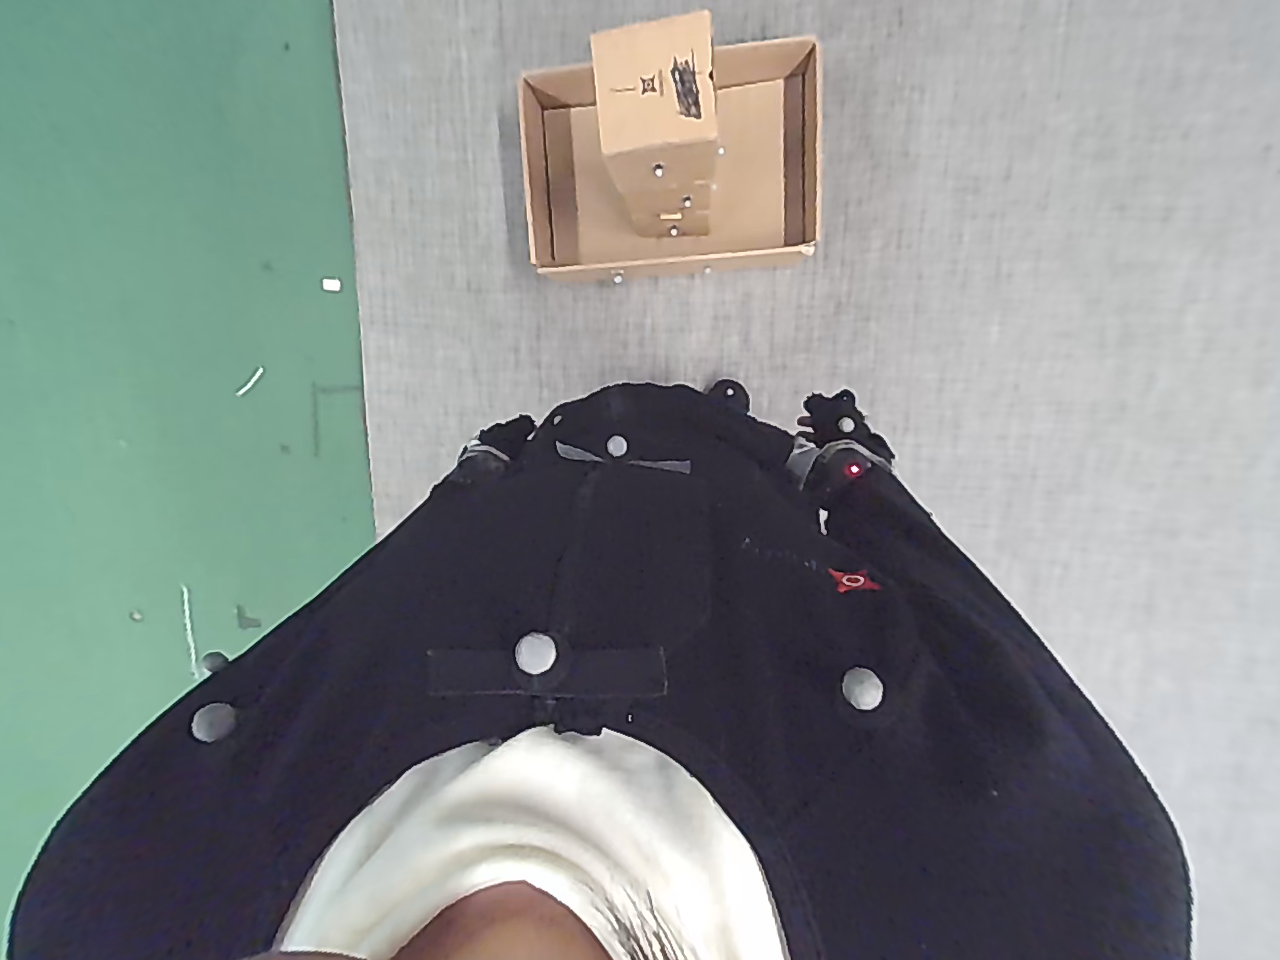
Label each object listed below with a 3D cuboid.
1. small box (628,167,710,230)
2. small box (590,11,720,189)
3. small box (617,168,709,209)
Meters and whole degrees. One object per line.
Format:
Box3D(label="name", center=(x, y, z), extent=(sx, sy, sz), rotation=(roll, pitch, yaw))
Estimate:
Box3D(label="small box", center=(0.068, -0.655, 1.180), extent=(0.168, 0.176, 0.179), rotation=(2, 101, 7))
Box3D(label="small box", center=(0.029, -0.589, 0.864), extent=(0.179, 0.176, 0.168), rotation=(-7, 100, 7))
Box3D(label="small box", center=(0.048, -0.627, 1.022), extent=(0.168, 0.176, 0.179), rotation=(0, 100, 7))
